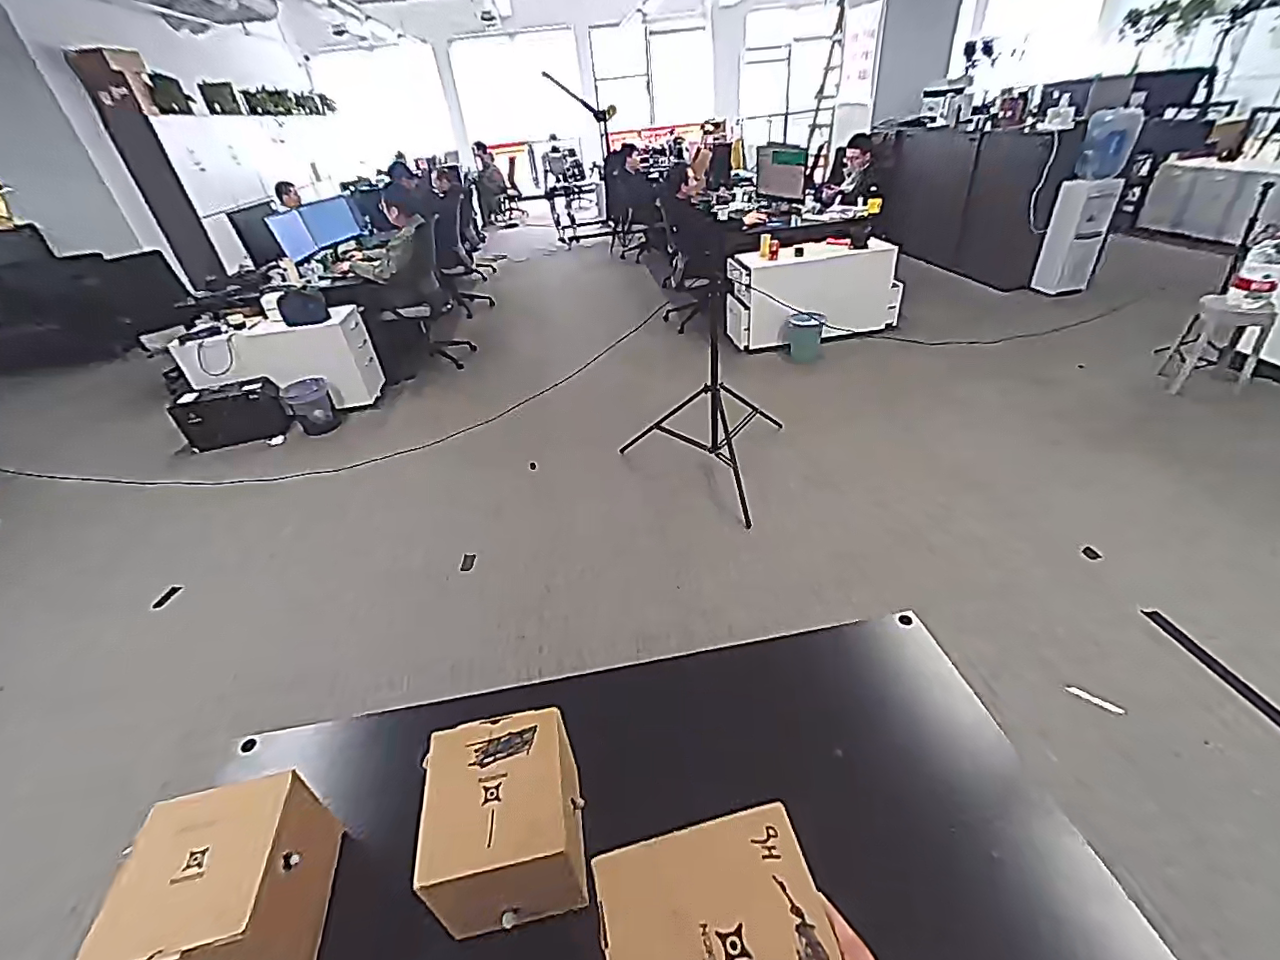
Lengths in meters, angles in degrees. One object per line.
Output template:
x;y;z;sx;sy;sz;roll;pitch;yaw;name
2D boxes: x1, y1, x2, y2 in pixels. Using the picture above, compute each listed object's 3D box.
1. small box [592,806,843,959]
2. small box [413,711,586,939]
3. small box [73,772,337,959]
0.064;0.415;0.461;0.179;0.176;0.168;-10;44;-9;small box
-0.165;0.429;0.682;0.168;0.176;0.179;-10;35;-5;small box
-0.489;0.492;0.642;0.168;0.176;0.179;-10;34;-9;small box
